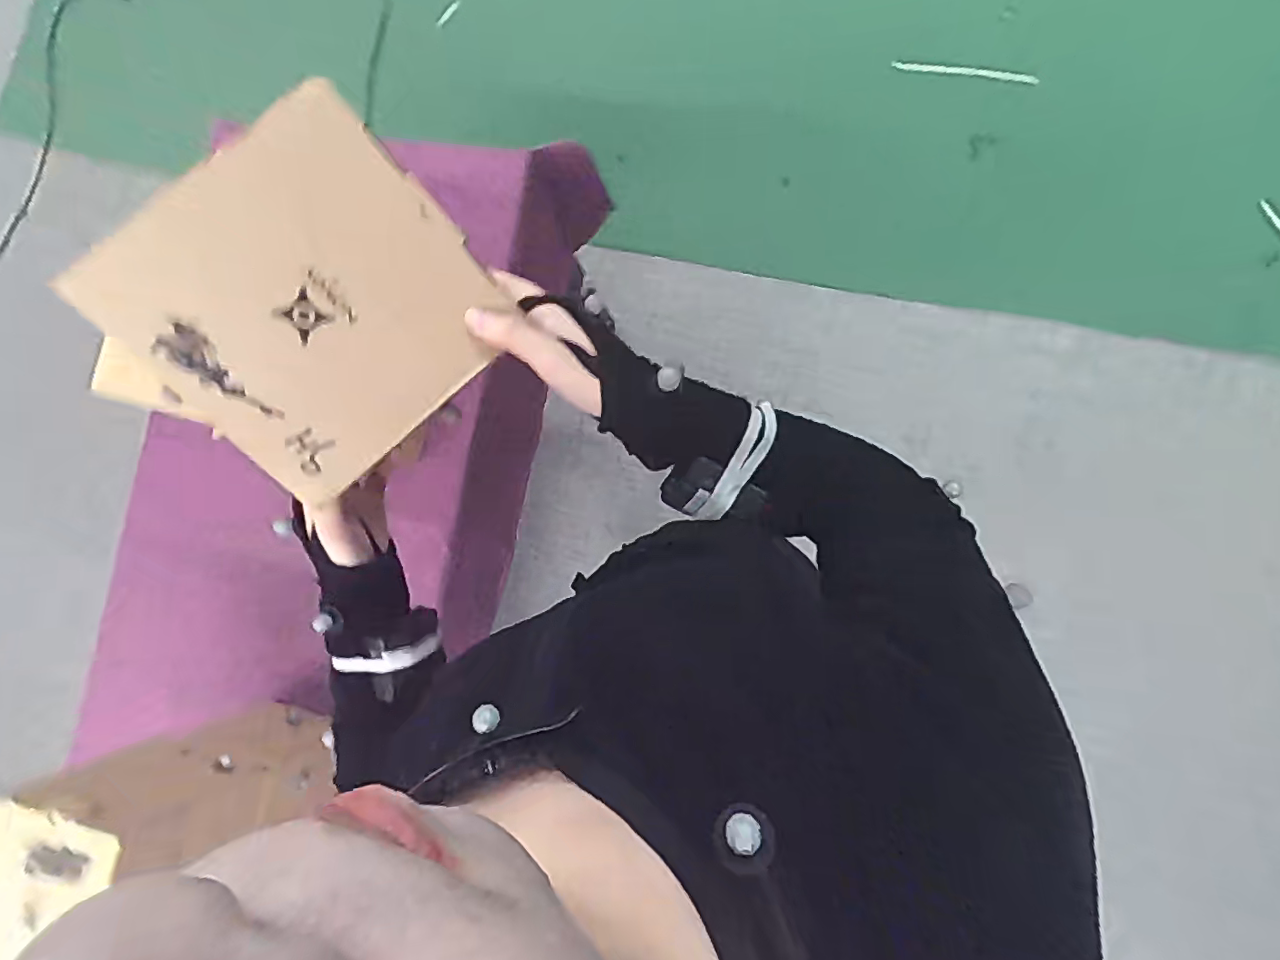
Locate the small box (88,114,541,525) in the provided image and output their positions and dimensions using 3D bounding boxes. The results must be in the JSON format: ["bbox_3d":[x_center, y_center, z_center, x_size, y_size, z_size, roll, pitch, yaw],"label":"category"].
[{"bbox_3d":[-0.196,-0.100,0.386,0.179,0.176,0.168,-42,107,-5],"label":"small box"}]

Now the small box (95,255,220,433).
[{"bbox_3d":[-0.455,-0.134,0.633,0.179,0.176,0.168,13,87,10],"label":"small box"}]
